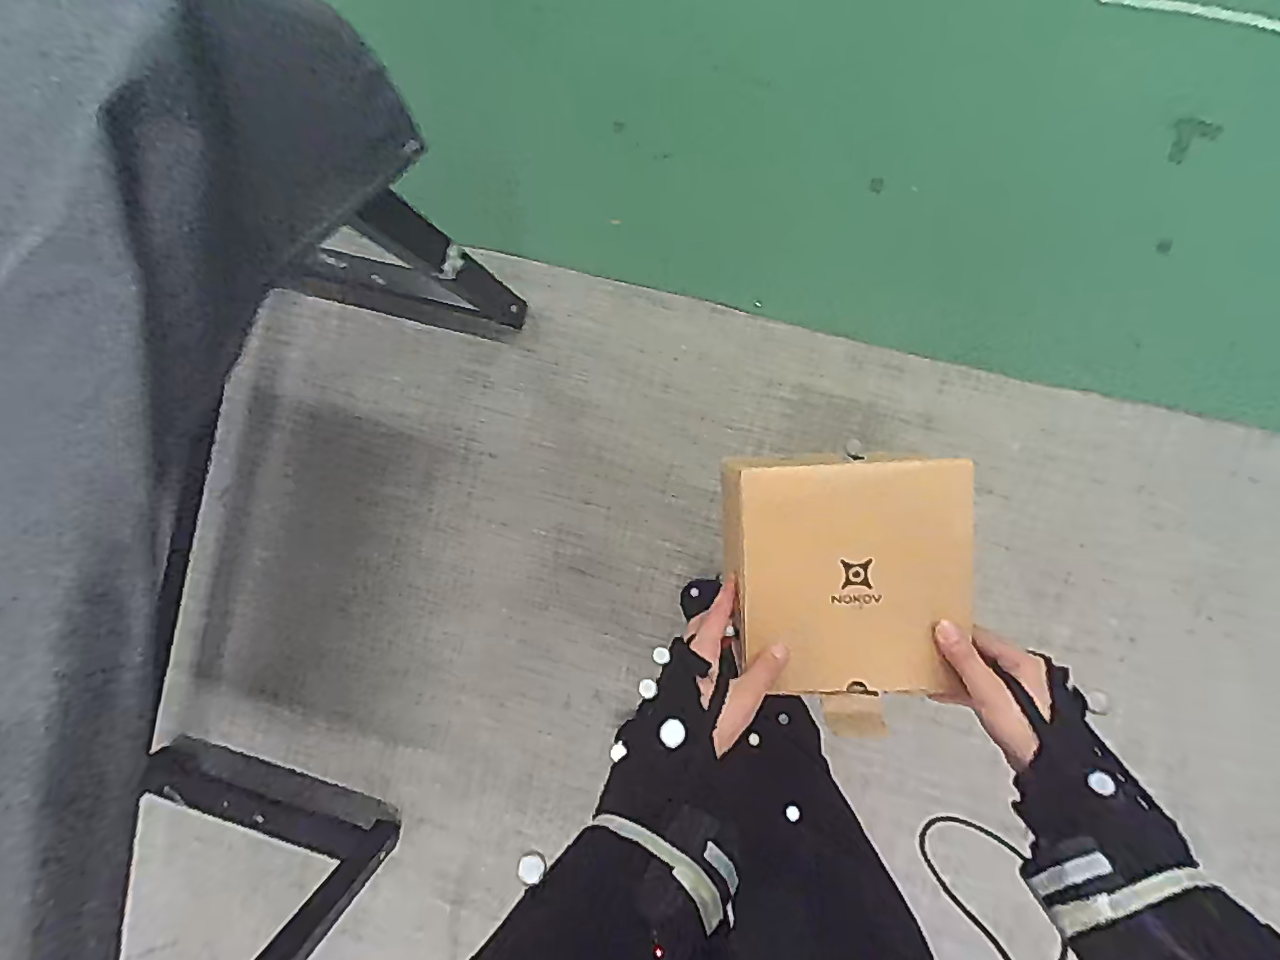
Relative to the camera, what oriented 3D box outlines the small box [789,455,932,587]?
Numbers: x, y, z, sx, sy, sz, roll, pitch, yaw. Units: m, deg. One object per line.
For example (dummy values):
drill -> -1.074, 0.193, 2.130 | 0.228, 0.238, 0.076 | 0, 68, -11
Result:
small box -> 0.366, 0.061, 0.935 | 0.168, 0.176, 0.179 | 16, 95, 6
